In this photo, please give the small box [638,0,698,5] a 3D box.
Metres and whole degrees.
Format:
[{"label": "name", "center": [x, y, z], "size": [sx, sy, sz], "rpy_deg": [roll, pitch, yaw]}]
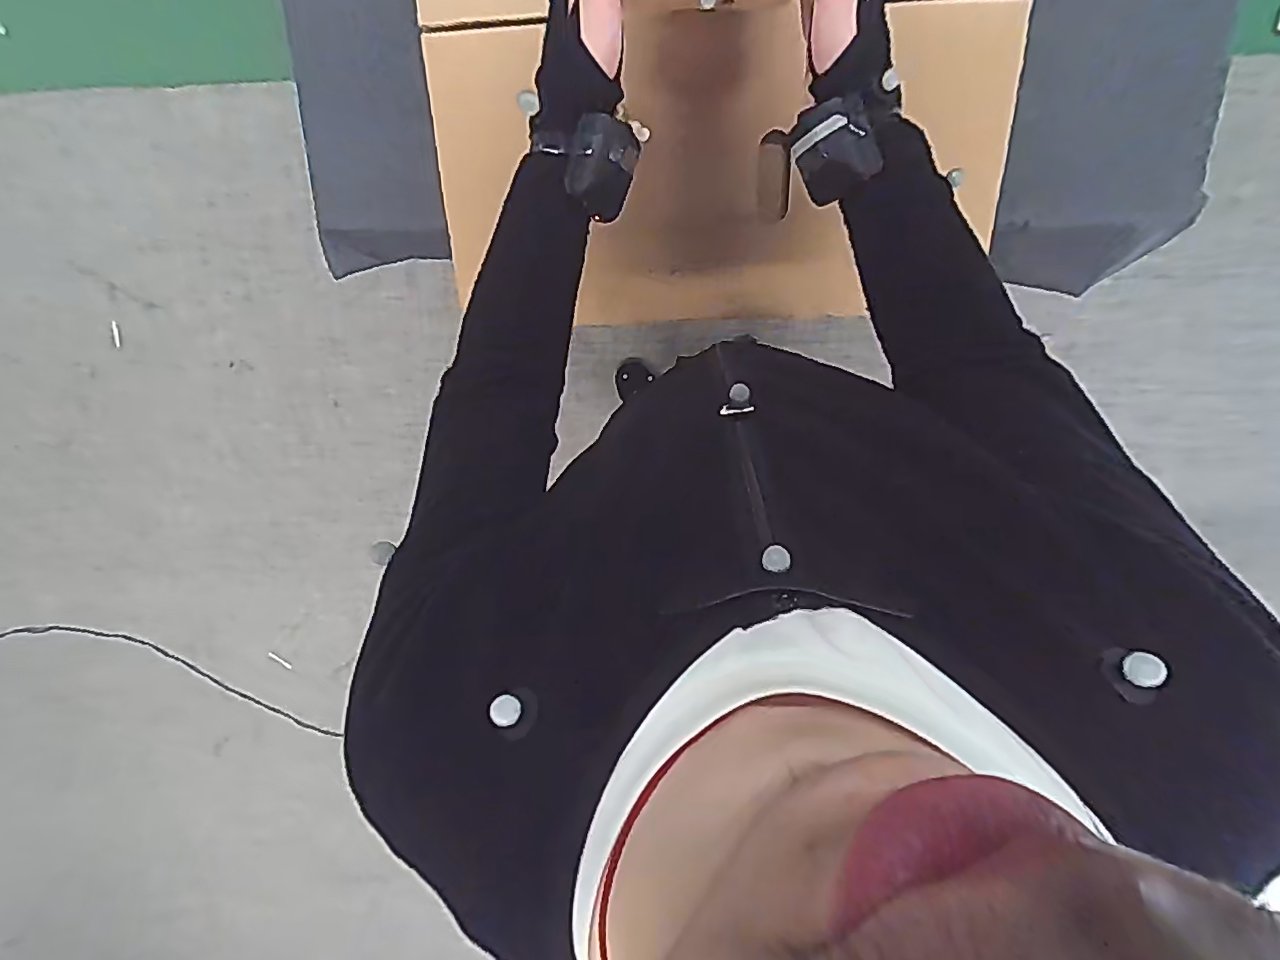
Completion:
[{"label": "small box", "center": [0.057, -0.480, 0.395], "size": [0.168, 0.176, 0.179], "rpy_deg": [-2, 118, 3]}]
